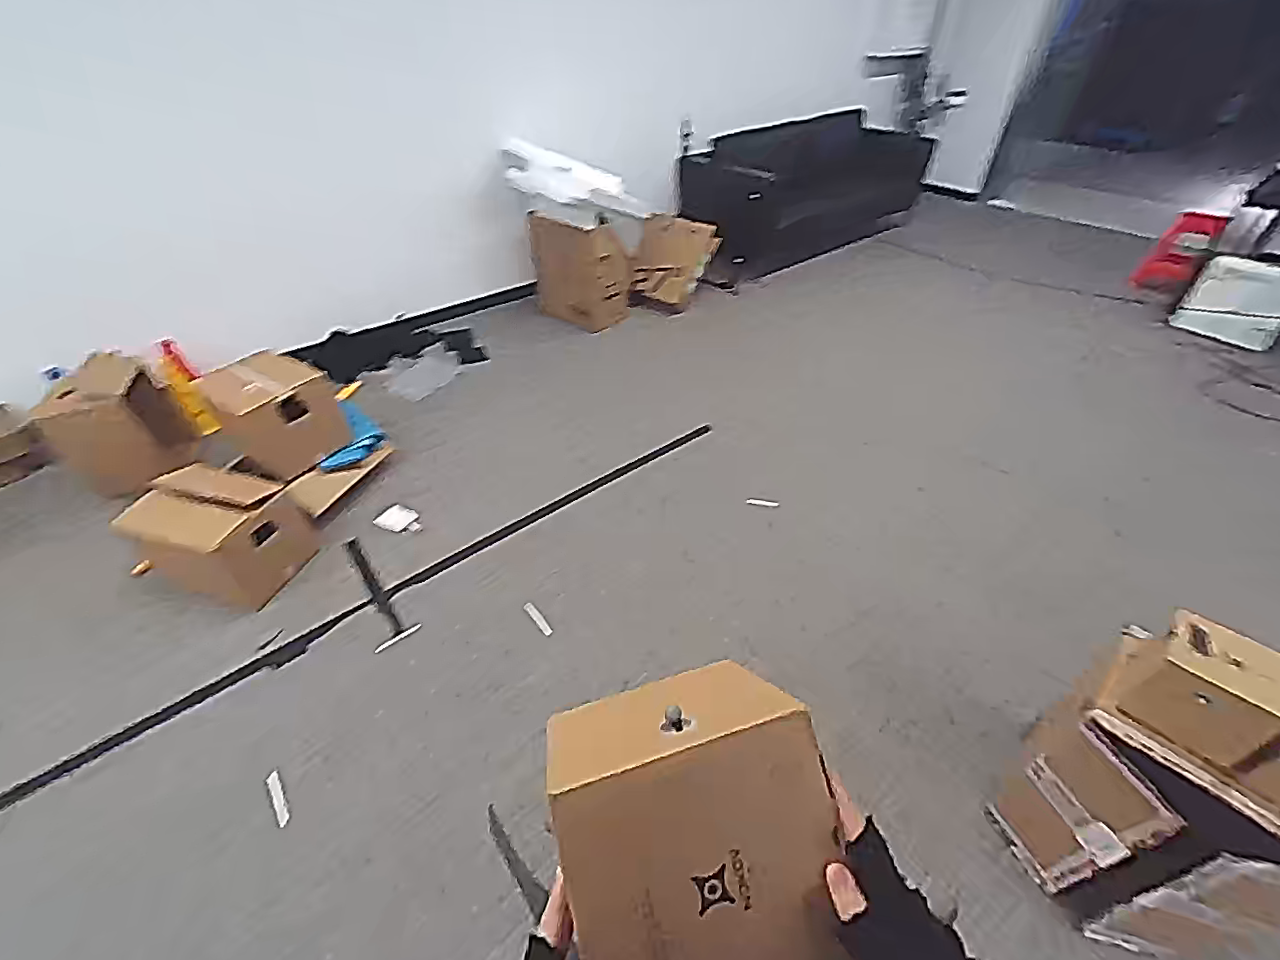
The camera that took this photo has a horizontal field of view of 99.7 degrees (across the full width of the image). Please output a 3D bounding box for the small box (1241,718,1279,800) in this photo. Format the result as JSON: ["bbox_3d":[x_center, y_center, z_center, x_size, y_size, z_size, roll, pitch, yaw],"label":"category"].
[{"bbox_3d":[1.196,0.473,0.922,0.179,0.176,0.168,-31,51,-32],"label":"small box"}]

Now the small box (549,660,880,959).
[{"bbox_3d":[0.035,0.248,0.404,0.179,0.176,0.168,-14,83,-10],"label":"small box"}]

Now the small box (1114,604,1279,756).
[{"bbox_3d":[1.057,0.380,1.029,0.179,0.176,0.168,31,49,32],"label":"small box"}]
